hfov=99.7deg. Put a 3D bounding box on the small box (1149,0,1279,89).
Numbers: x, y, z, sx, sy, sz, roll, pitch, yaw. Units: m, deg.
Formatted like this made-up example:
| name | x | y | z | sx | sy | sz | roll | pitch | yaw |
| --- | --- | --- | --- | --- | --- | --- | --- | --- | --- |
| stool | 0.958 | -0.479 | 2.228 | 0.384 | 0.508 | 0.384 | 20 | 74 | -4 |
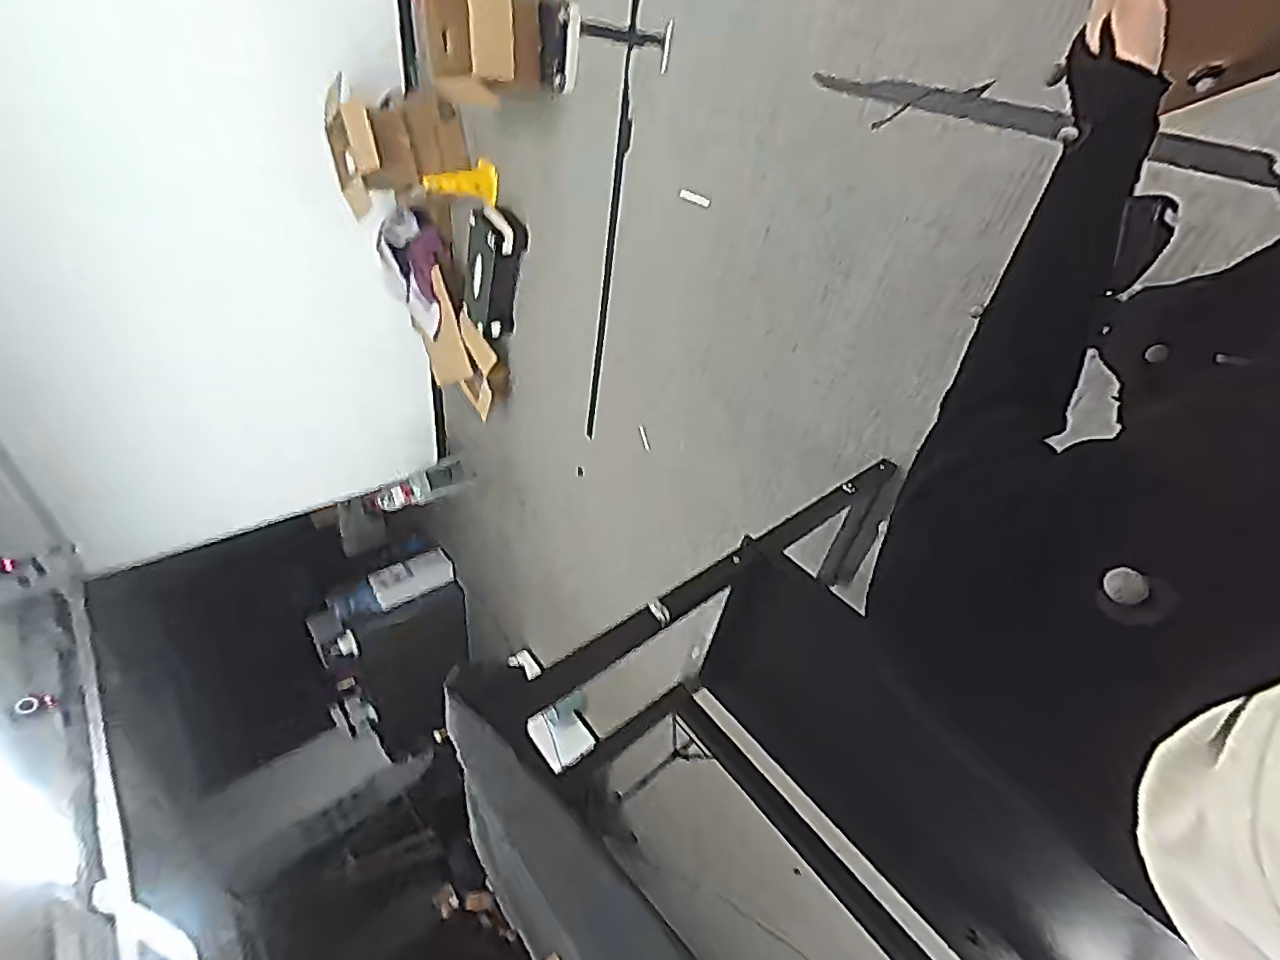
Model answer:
| name | x | y | z | sx | sy | sz | roll | pitch | yaw |
| --- | --- | --- | --- | --- | --- | --- | --- | --- | --- |
| small box | 0.499 | -0.447 | 0.409 | 0.168 | 0.176 | 0.179 | -2 | 75 | 44 |
